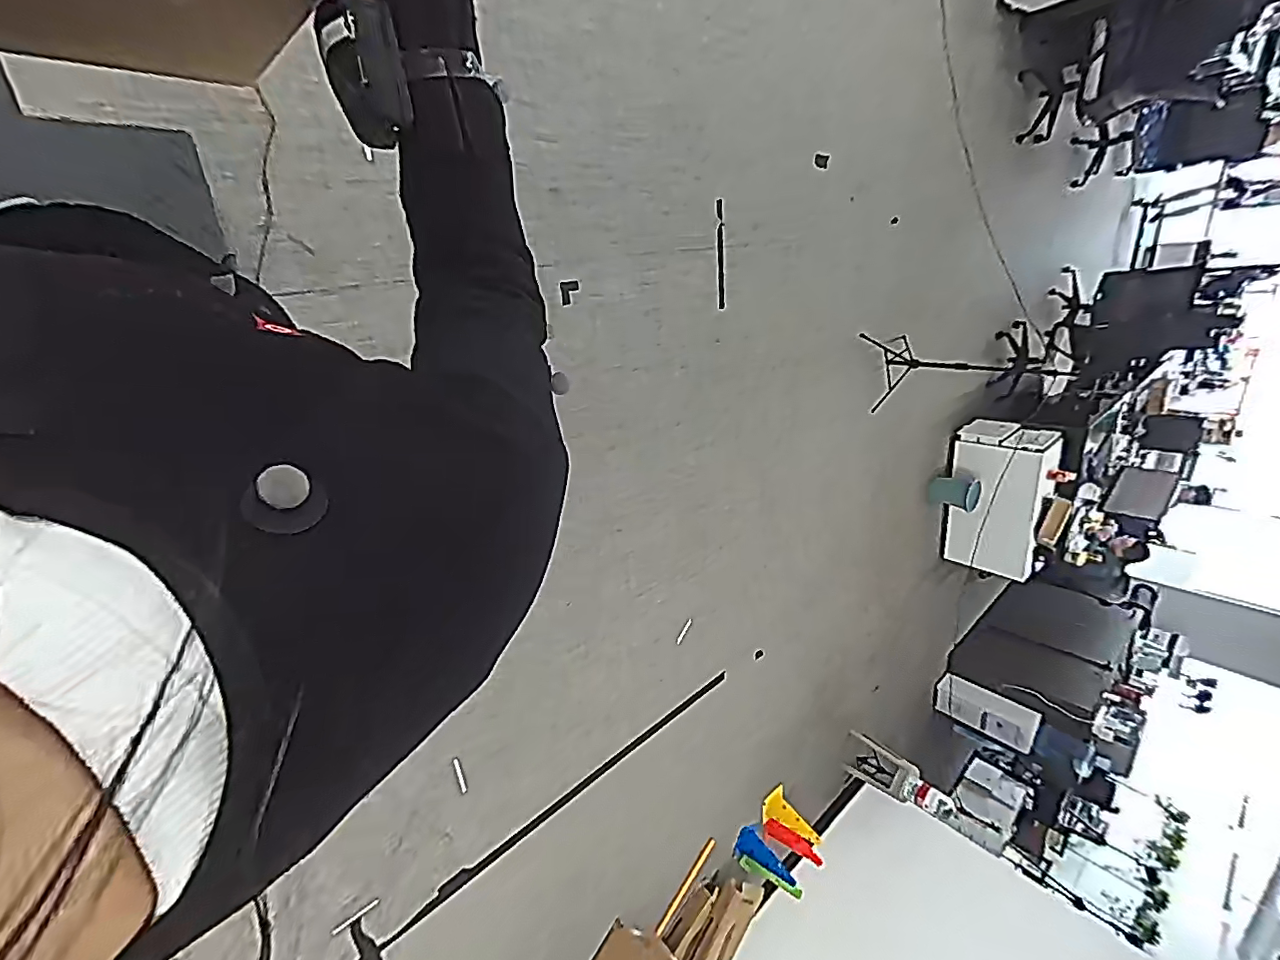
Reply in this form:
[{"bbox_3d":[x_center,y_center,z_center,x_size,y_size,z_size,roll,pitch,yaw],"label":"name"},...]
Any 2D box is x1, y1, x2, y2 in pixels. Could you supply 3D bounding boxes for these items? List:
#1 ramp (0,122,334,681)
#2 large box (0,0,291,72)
[{"bbox_3d":[-1.016,-0.160,1.065,0.509,0.206,0.991,-20,114,-34],"label":"ramp"},{"bbox_3d":[-0.419,-0.407,0.216,0.408,0.320,0.320,-20,123,-37],"label":"large box"}]
